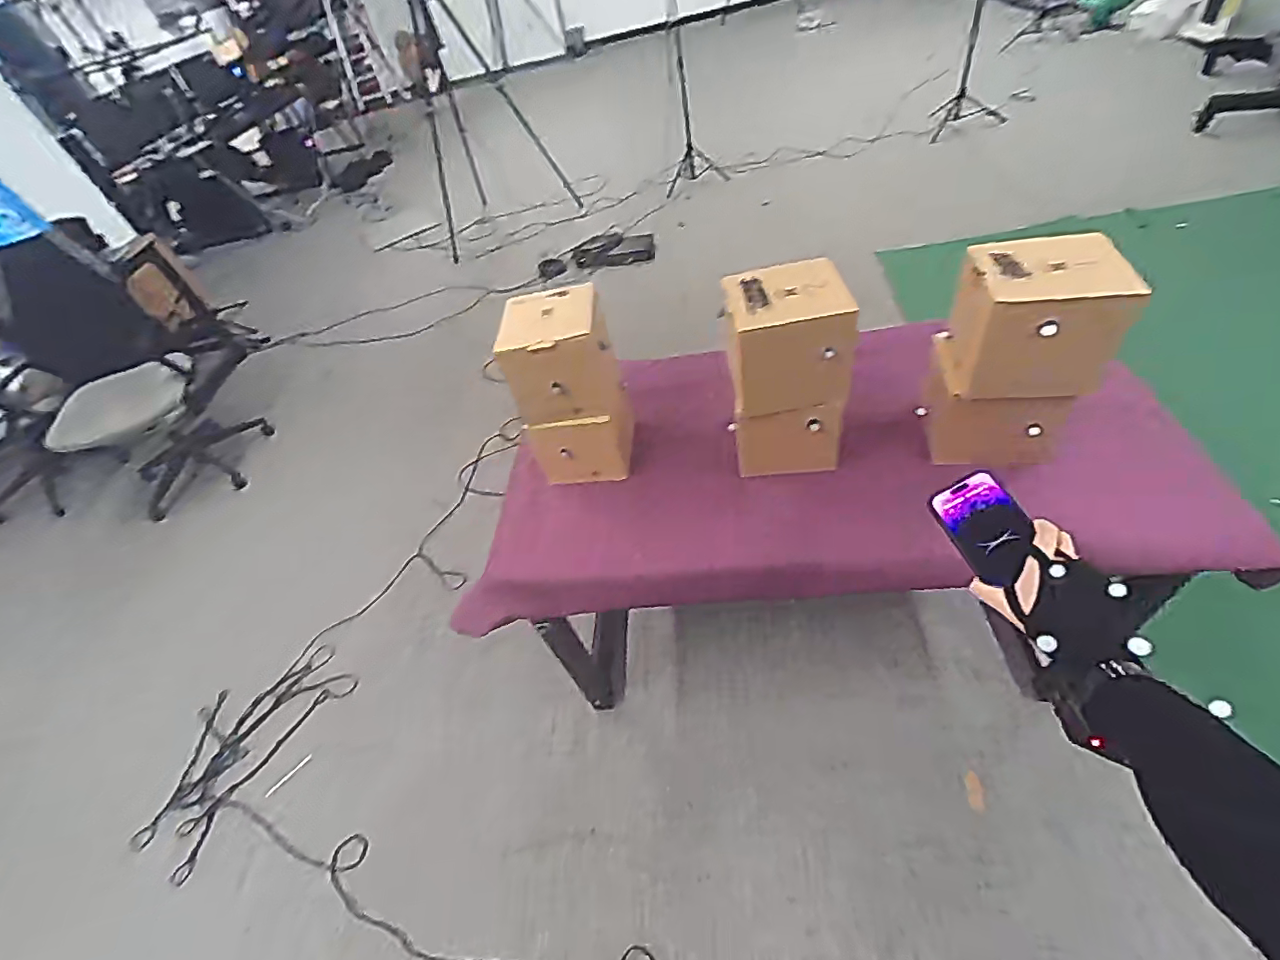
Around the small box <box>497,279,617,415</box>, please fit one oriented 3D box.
[{"bbox_3d":[-0.140,-0.233,0.982,0.168,0.176,0.179,-6,49,8],"label":"small box"}]

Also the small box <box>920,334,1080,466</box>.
[{"bbox_3d":[0.603,-0.137,0.932,0.179,0.176,0.168,1,49,16],"label":"small box"}]

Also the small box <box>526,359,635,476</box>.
[{"bbox_3d":[-0.110,-0.119,1.097,0.168,0.176,0.179,-3,48,12],"label":"small box"}]

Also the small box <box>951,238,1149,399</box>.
[{"bbox_3d":[0.580,-0.233,0.800,0.179,0.176,0.168,1,49,15],"label":"small box"}]

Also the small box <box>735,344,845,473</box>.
[{"bbox_3d":[0.271,-0.128,1.006,0.179,0.176,0.168,-4,48,11],"label":"small box"}]
